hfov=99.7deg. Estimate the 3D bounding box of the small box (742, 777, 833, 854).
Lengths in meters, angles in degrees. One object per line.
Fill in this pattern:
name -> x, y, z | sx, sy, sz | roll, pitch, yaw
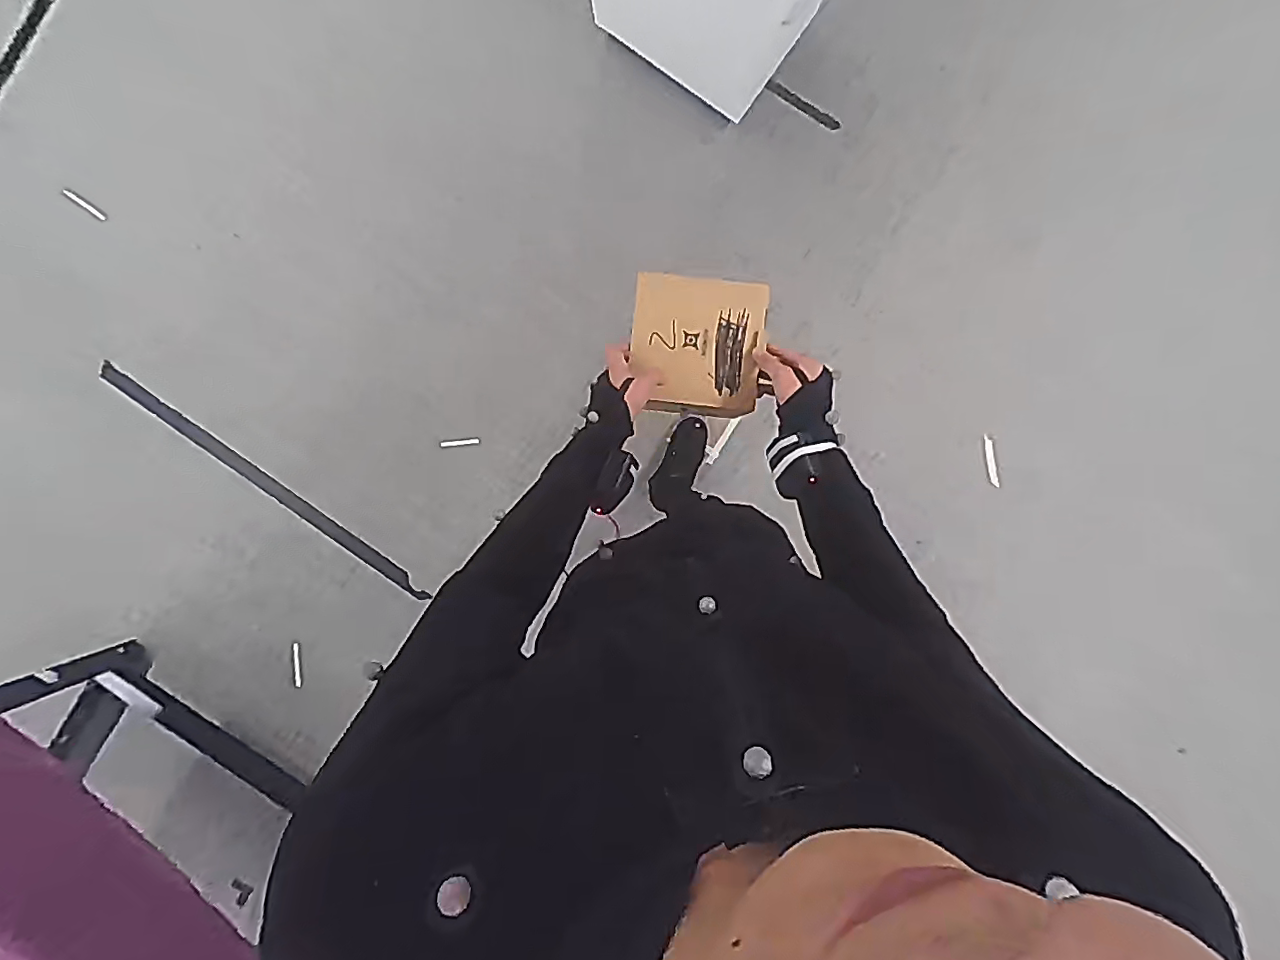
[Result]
small box -> 0.422, 1.014, 1.578 | 0.179, 0.176, 0.168 | 35, 92, 0
